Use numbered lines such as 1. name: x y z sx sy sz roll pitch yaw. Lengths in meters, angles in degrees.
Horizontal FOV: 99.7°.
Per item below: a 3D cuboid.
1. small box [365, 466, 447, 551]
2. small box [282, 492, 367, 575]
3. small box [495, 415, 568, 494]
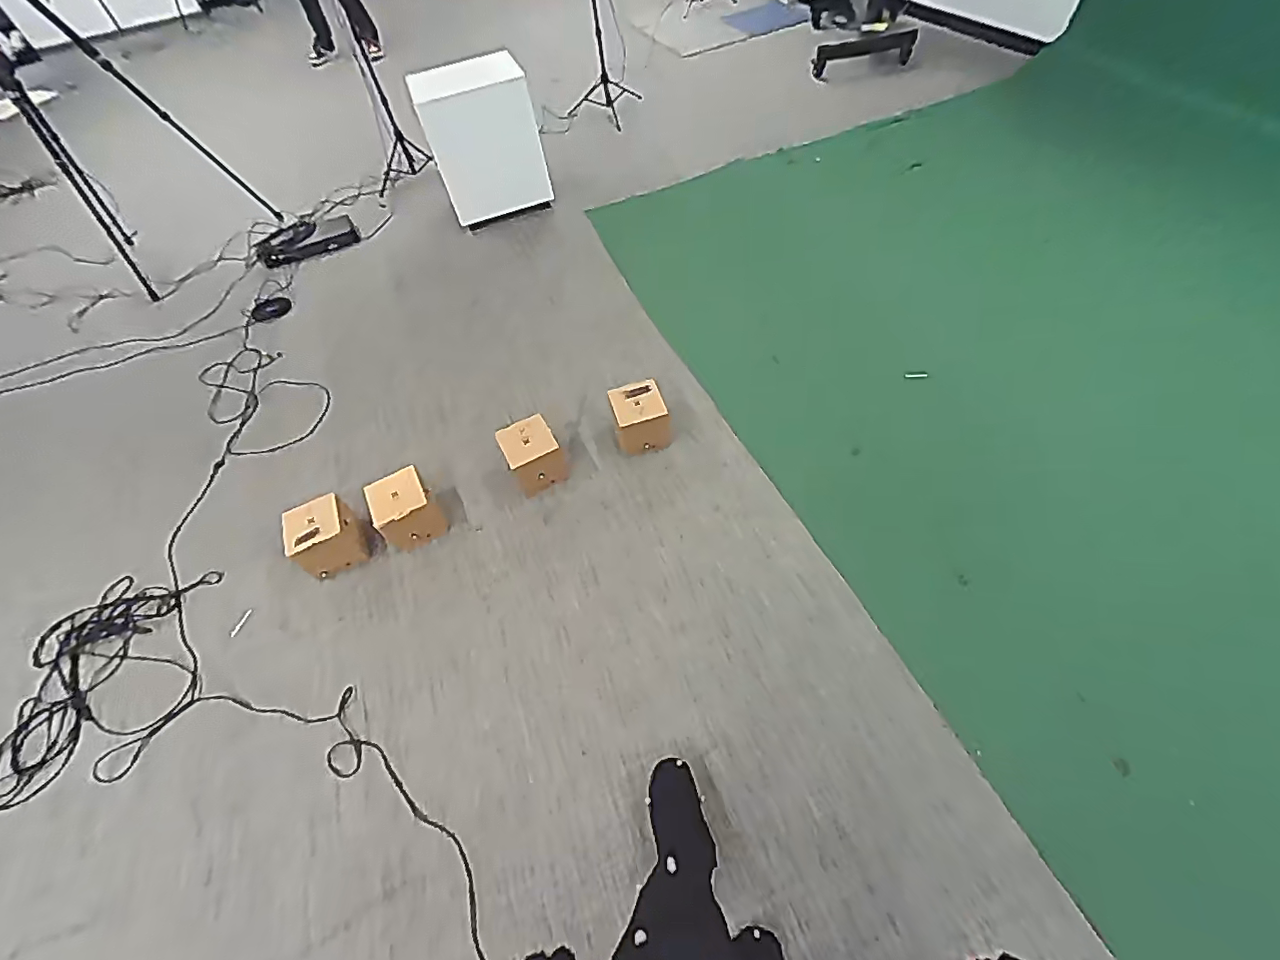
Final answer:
1. small box: -0.740 0.094 1.718 0.168 0.176 0.179 -27 57 -12
2. small box: -0.980 0.176 1.687 0.168 0.176 0.179 -25 55 -10
3. small box: -0.355 -0.075 1.791 0.168 0.176 0.179 -26 56 -13
